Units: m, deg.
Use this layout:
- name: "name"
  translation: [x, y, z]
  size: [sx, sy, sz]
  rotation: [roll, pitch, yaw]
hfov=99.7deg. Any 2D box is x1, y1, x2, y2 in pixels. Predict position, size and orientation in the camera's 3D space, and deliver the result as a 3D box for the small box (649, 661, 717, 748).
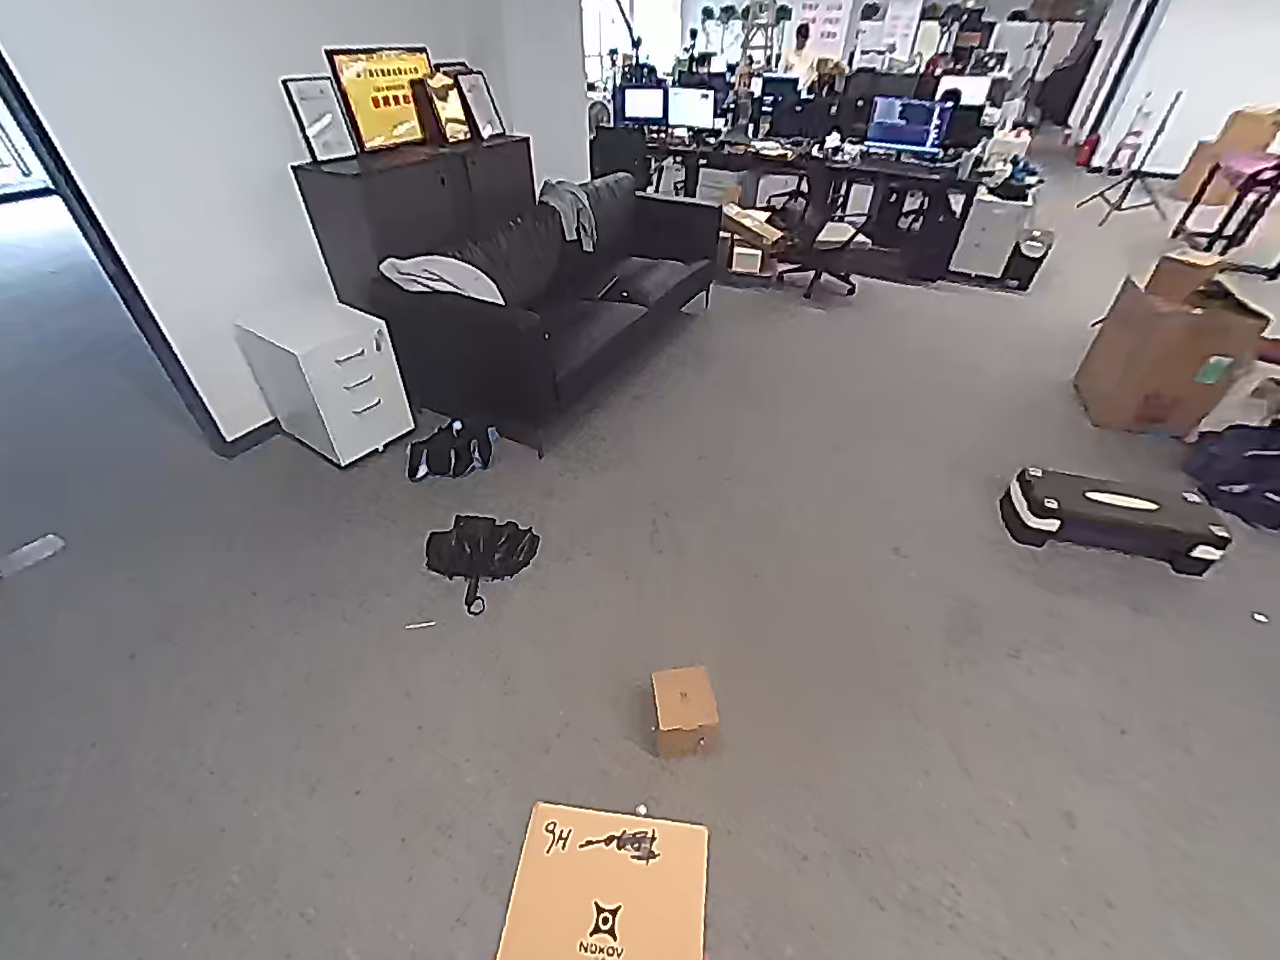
- name: "small box"
  translation: [0.119, 0.657, 1.569]
  size: [0.168, 0.176, 0.179]
  rotation: [-4, 39, -7]
